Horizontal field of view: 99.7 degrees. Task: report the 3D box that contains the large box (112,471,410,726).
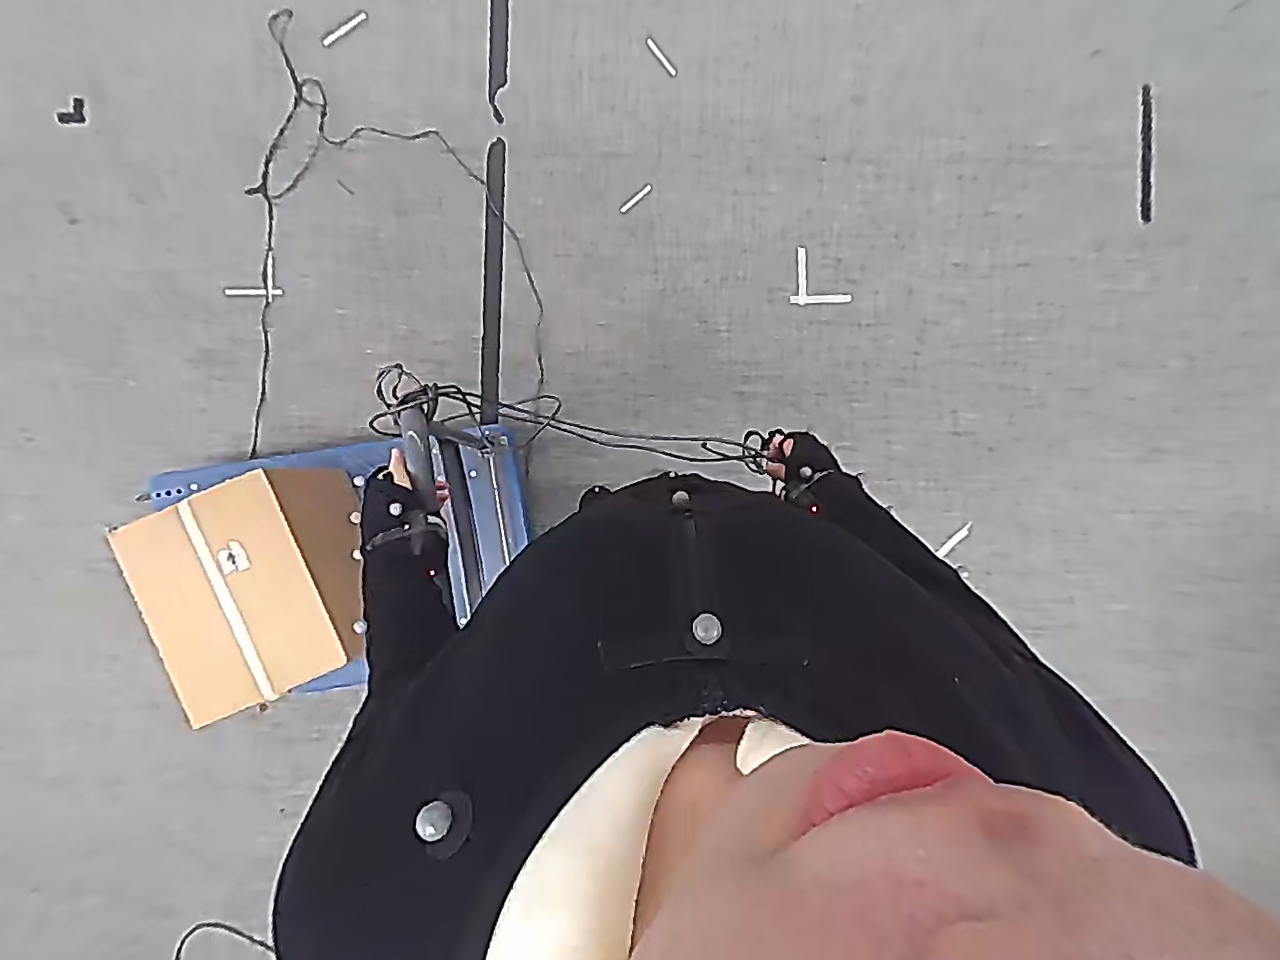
[{"bbox_3d":[-0.766,0.224,1.157,0.320,0.320,0.408,-23,90,-2],"label":"large box"}]
